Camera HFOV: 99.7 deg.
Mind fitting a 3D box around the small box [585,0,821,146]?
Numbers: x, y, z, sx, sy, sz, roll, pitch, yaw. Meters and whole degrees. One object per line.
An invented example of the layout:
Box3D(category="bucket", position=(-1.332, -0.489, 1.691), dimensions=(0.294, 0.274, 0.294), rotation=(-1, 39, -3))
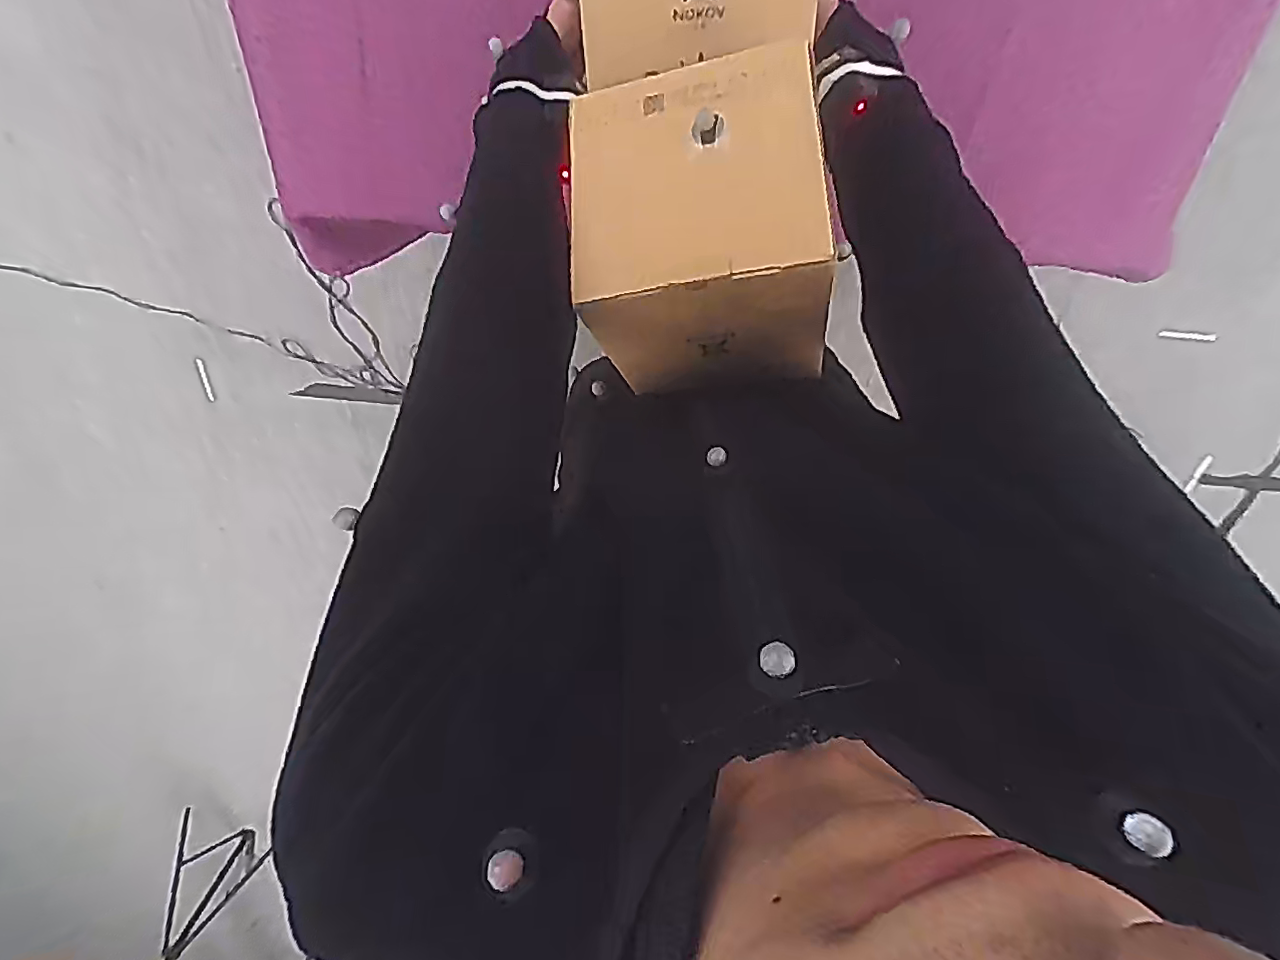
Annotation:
Box3D(category="small box", position=(0.043, -0.381, 0.430), dimensions=(0.168, 0.176, 0.179), rotation=(-2, 128, 4))
